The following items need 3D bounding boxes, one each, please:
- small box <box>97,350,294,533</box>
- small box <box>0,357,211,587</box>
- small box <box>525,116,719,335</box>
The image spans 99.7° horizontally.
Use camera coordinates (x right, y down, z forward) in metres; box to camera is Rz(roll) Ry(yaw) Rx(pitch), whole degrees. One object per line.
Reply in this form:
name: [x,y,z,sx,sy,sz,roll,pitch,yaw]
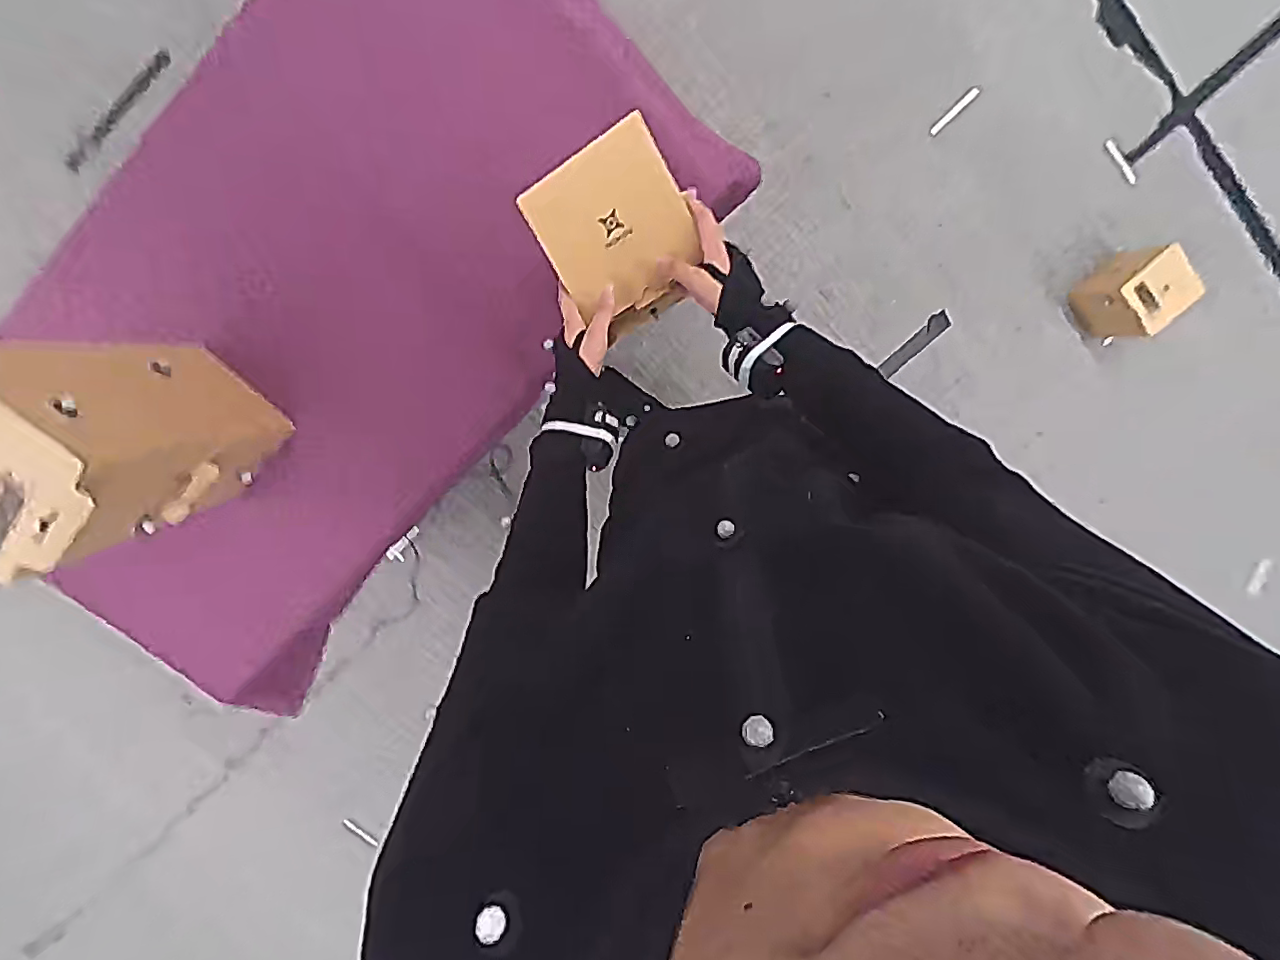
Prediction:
small box: [-0.642,-0.060,0.753,0.168,0.176,0.179,-44,101,8]
small box: [-0.638,-0.022,0.593,0.179,0.176,0.168,40,98,-9]
small box: [-0.013,-0.300,0.686,0.168,0.176,0.179,-28,97,14]
